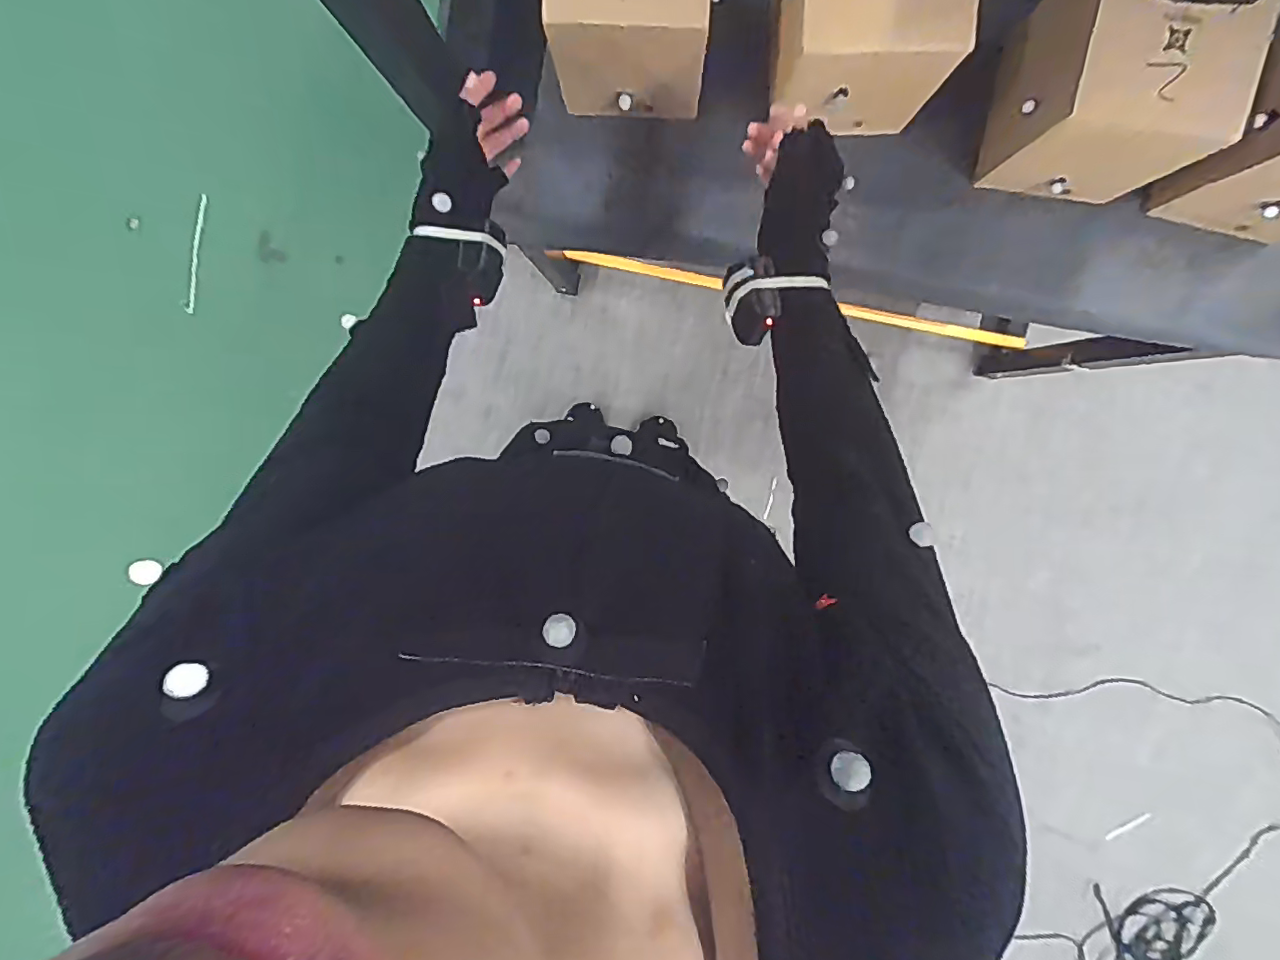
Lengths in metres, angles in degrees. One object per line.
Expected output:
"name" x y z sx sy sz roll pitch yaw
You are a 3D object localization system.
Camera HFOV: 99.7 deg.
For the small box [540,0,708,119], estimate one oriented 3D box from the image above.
"small box" -0.010 -0.539 0.595 0.168 0.176 0.179 3 98 2
